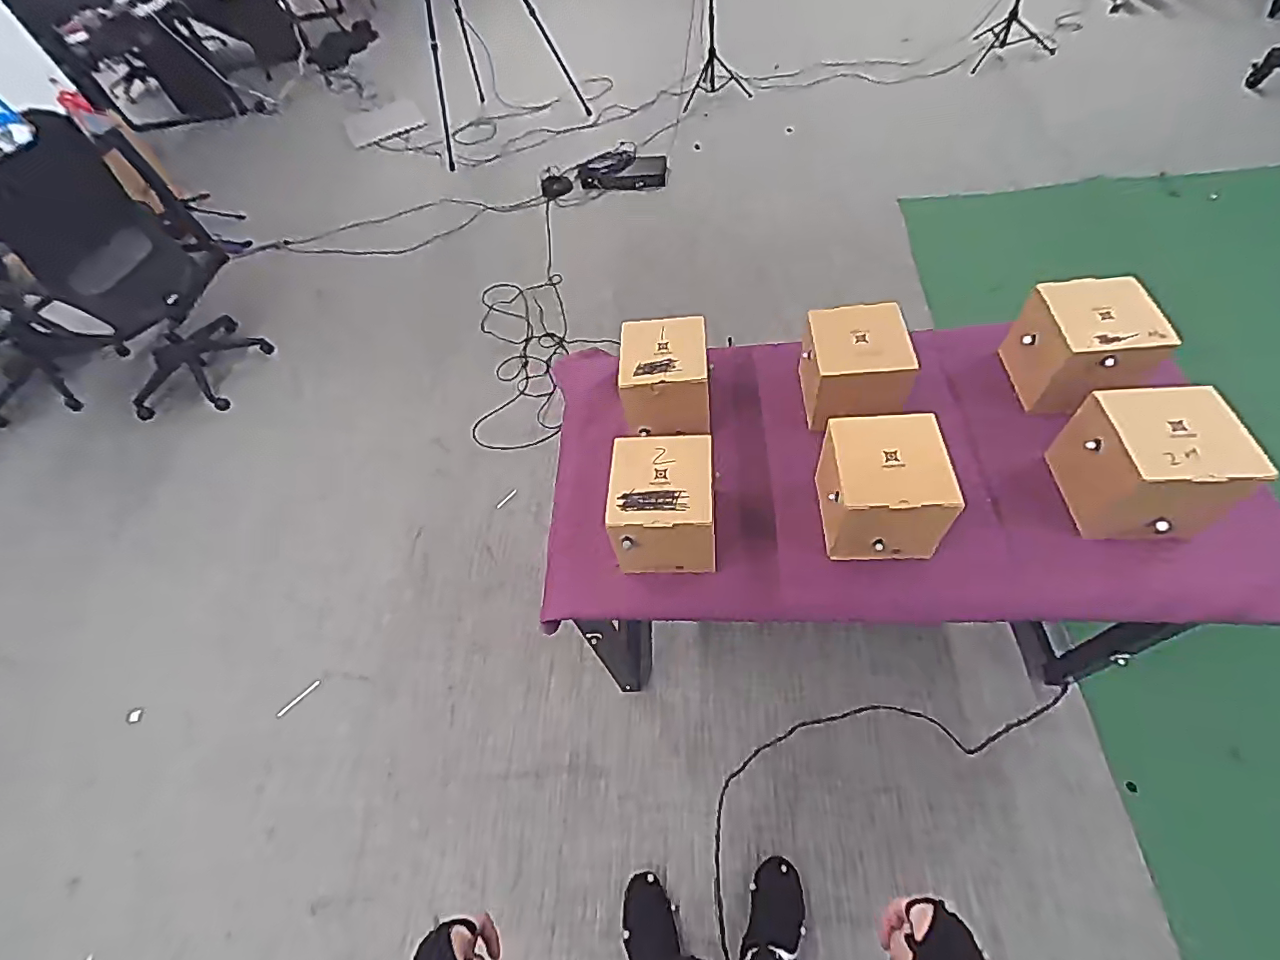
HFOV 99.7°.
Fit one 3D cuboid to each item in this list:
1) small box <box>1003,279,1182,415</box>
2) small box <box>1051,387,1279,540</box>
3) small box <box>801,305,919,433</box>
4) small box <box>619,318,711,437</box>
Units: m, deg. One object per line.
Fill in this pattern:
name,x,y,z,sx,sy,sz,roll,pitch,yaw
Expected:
small box,0.809,-0.240,0.995,0.168,0.176,0.179,-3,56,8
small box,0.794,-0.024,0.848,0.168,0.176,0.179,-2,55,10
small box,0.411,-0.211,1.045,0.168,0.176,0.179,-3,57,9
small box,0.056,-0.199,1.093,0.168,0.176,0.179,-3,56,7
